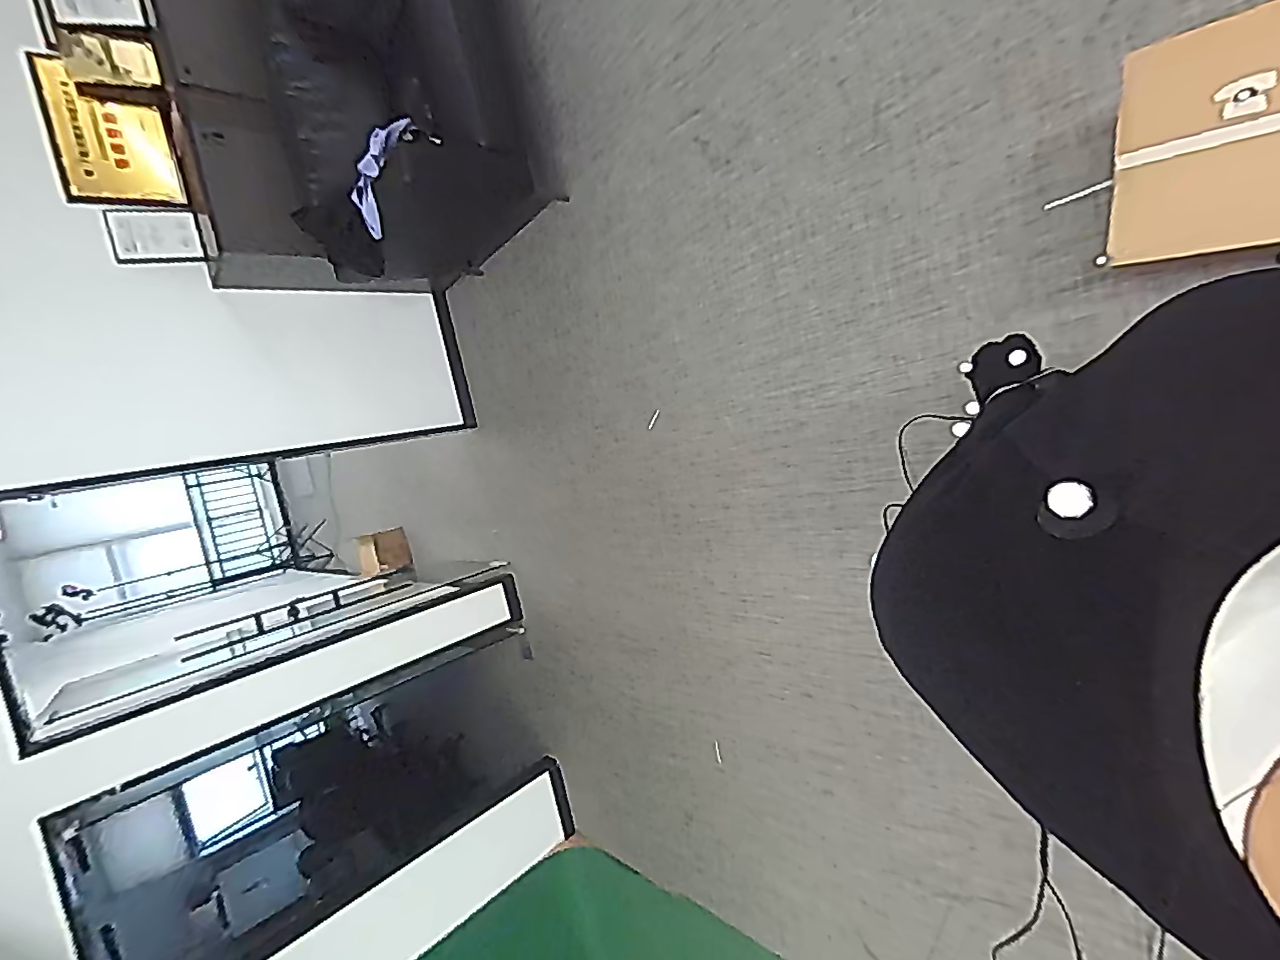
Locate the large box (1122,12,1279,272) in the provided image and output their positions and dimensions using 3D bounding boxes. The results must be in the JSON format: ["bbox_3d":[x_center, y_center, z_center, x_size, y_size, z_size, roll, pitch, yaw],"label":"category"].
[{"bbox_3d":[1.033,-0.515,0.819,0.408,0.320,0.320,8,107,48],"label":"large box"}]
